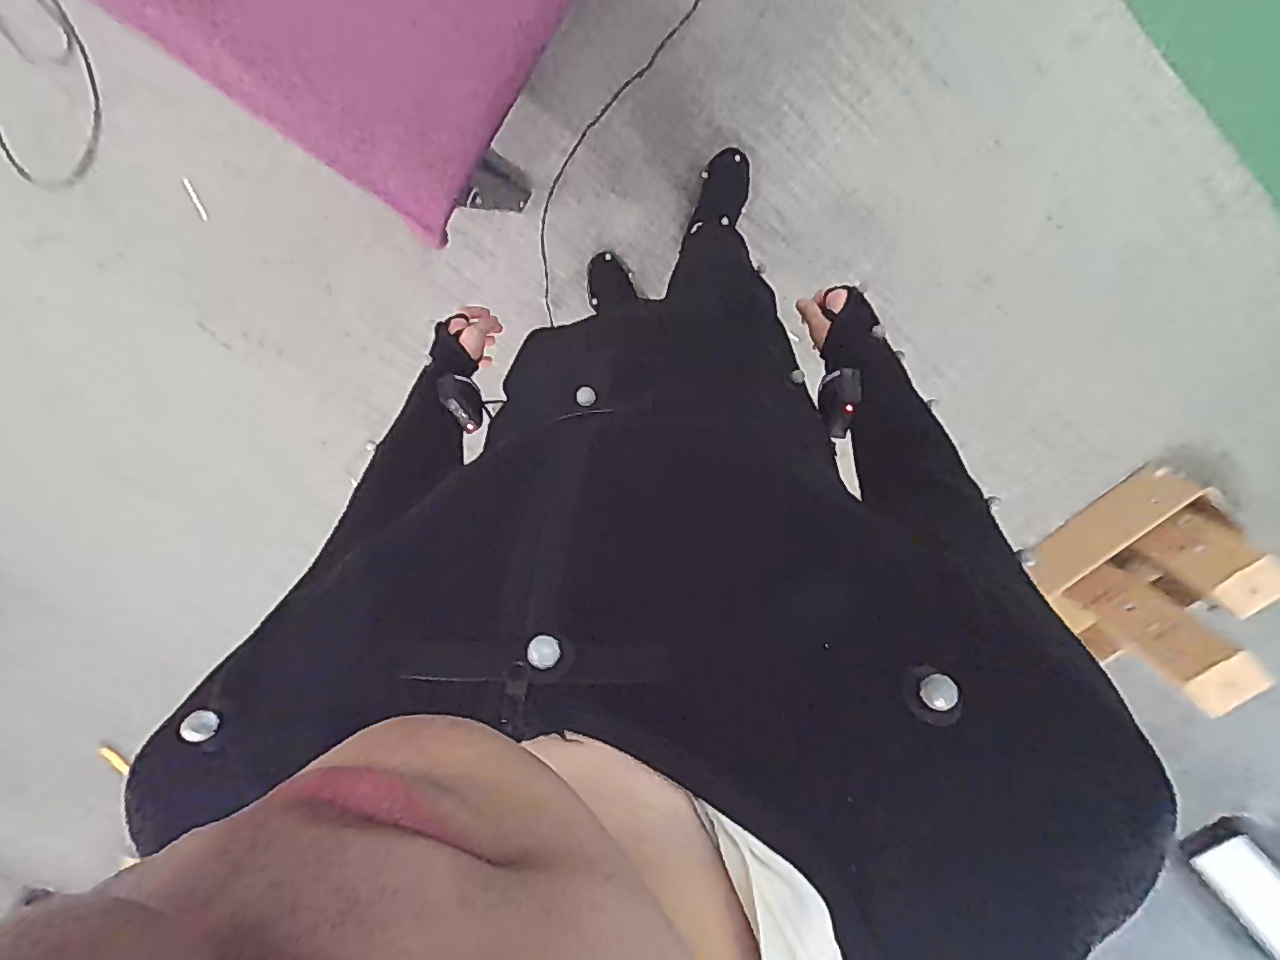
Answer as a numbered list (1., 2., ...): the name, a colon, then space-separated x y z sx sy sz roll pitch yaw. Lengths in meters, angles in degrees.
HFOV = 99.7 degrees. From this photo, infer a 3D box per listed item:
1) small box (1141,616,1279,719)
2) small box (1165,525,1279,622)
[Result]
1. small box: 1.526 0.496 1.460 0.179 0.176 0.168 39 108 -16
2. small box: 1.663 0.259 1.524 0.179 0.176 0.168 35 111 -16
